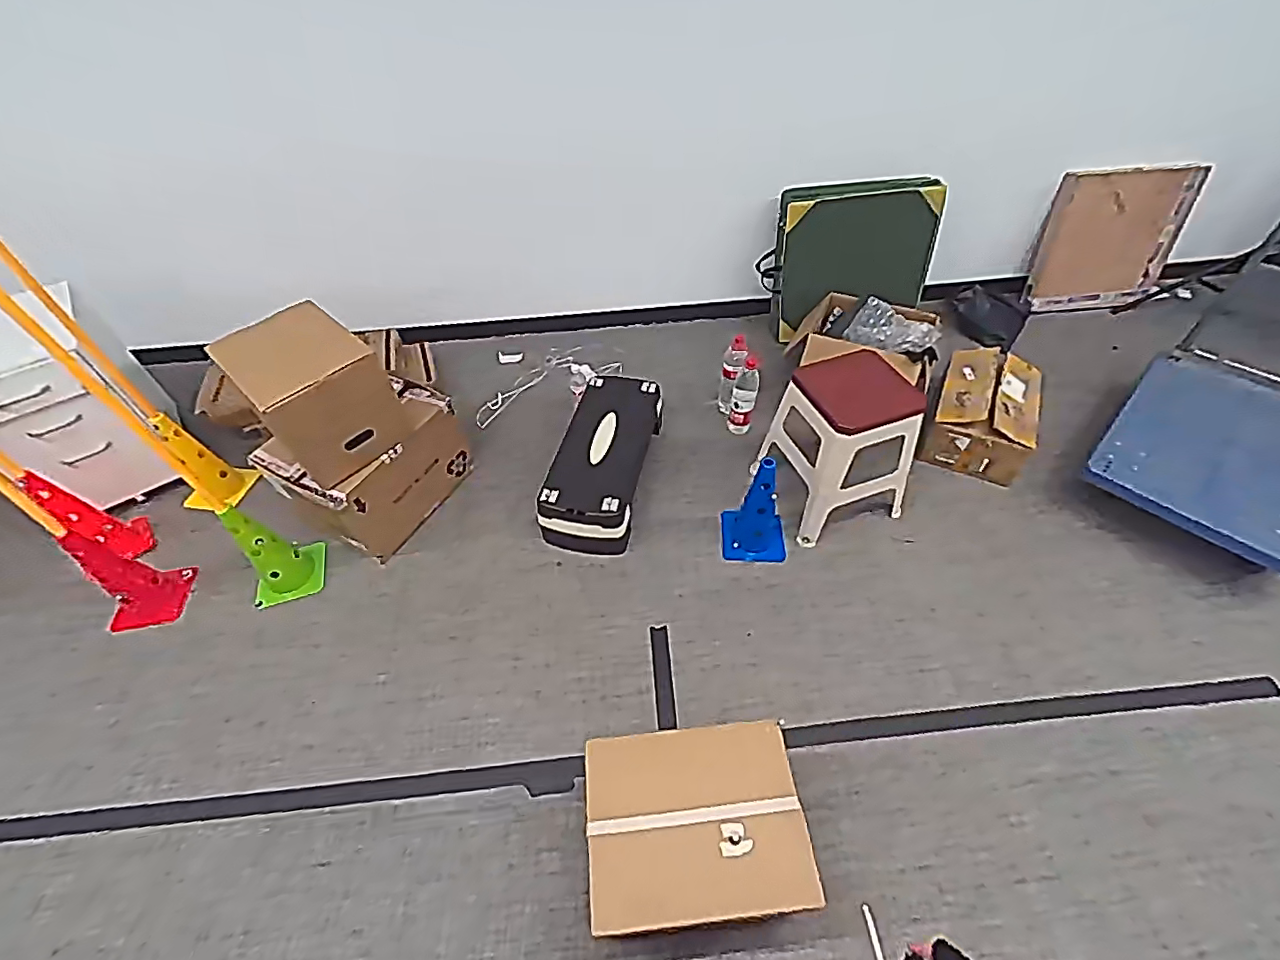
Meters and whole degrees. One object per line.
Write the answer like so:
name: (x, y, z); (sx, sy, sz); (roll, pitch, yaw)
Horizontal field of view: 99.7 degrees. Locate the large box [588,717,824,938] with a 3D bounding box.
large box: (0.109, 0.729, 1.134); (0.408, 0.320, 0.320); (-5, 50, -3)
